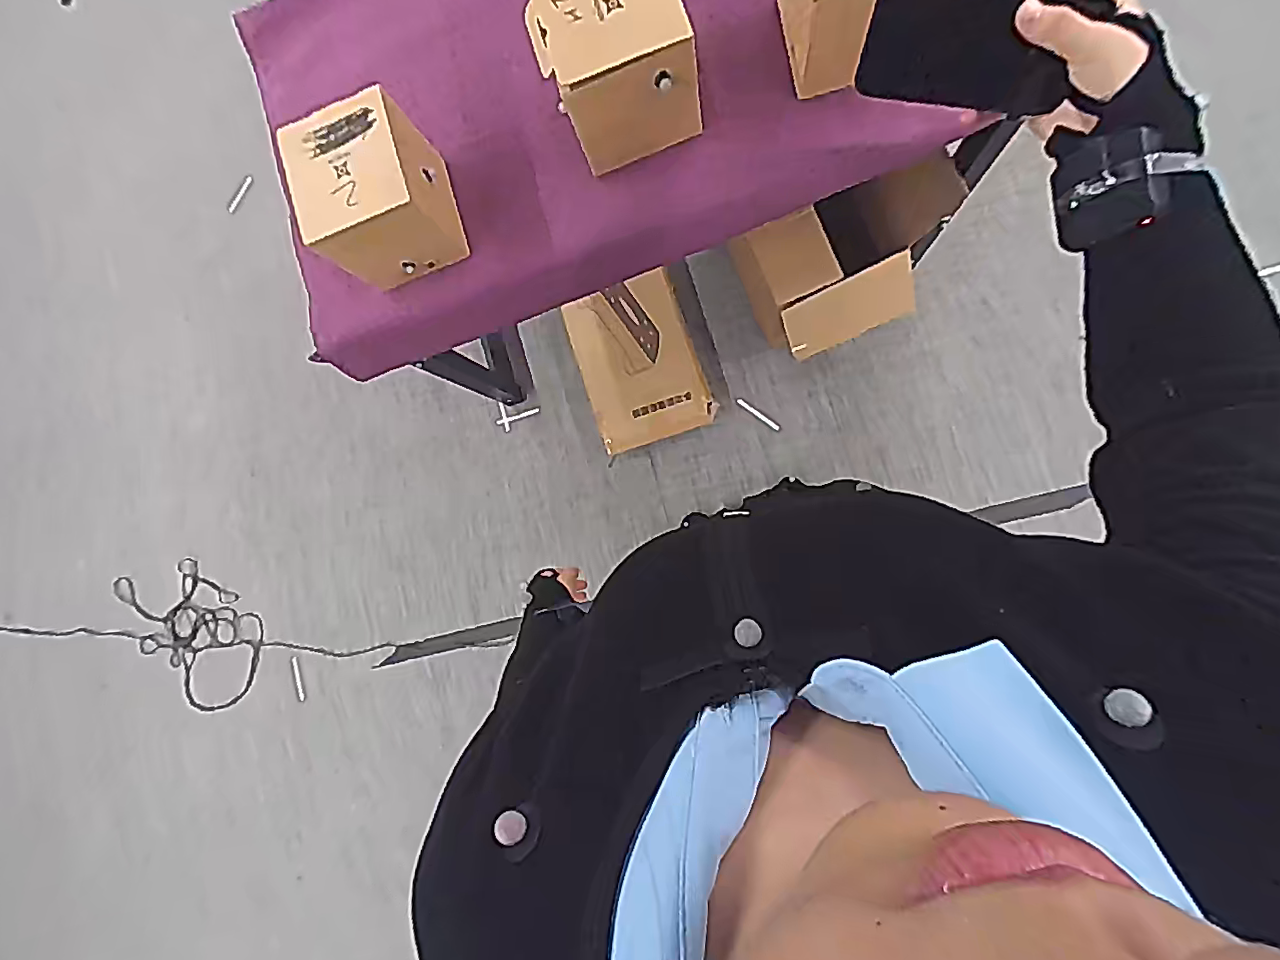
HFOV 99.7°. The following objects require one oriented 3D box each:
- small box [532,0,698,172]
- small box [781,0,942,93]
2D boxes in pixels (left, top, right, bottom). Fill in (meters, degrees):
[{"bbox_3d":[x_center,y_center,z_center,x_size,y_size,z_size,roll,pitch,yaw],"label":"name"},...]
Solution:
[{"bbox_3d":[-0.025,-0.570,0.740,0.179,0.176,0.168,-18,82,9],"label":"small box"},{"bbox_3d":[0.281,-0.646,0.691,0.179,0.176,0.168,-11,86,9],"label":"small box"}]
